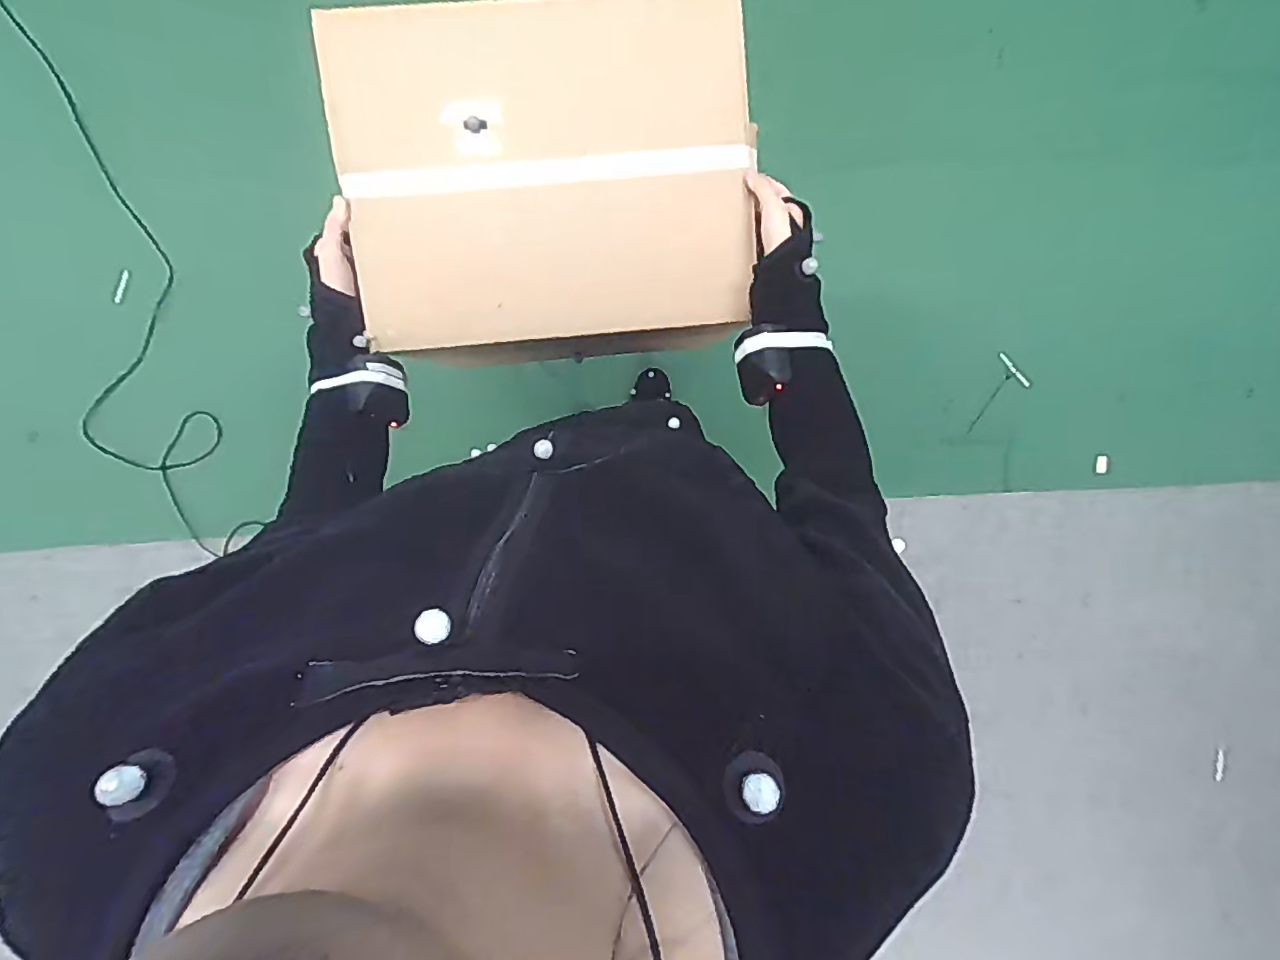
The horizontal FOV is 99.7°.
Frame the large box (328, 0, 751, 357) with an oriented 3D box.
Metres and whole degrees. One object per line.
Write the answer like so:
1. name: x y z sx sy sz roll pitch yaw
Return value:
1. large box: -0.096 -0.334 0.695 0.408 0.320 0.320 -5 100 -2
